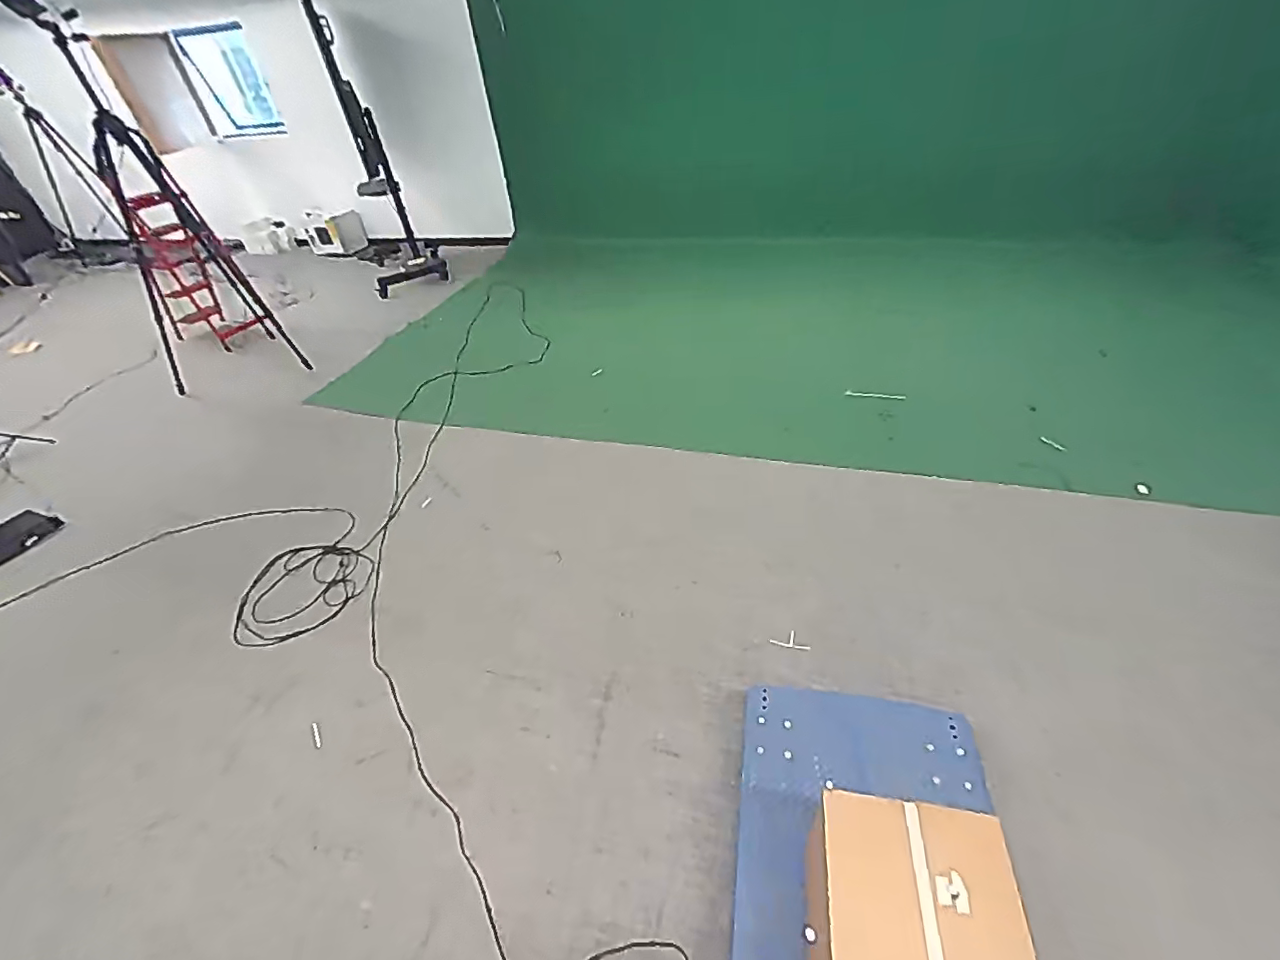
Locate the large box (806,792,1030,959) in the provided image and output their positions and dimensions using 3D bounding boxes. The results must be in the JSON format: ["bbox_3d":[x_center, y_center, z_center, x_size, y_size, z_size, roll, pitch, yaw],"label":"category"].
[{"bbox_3d":[0.479,0.859,0.974,0.320,0.320,0.408,4,40,11],"label":"large box"}]
